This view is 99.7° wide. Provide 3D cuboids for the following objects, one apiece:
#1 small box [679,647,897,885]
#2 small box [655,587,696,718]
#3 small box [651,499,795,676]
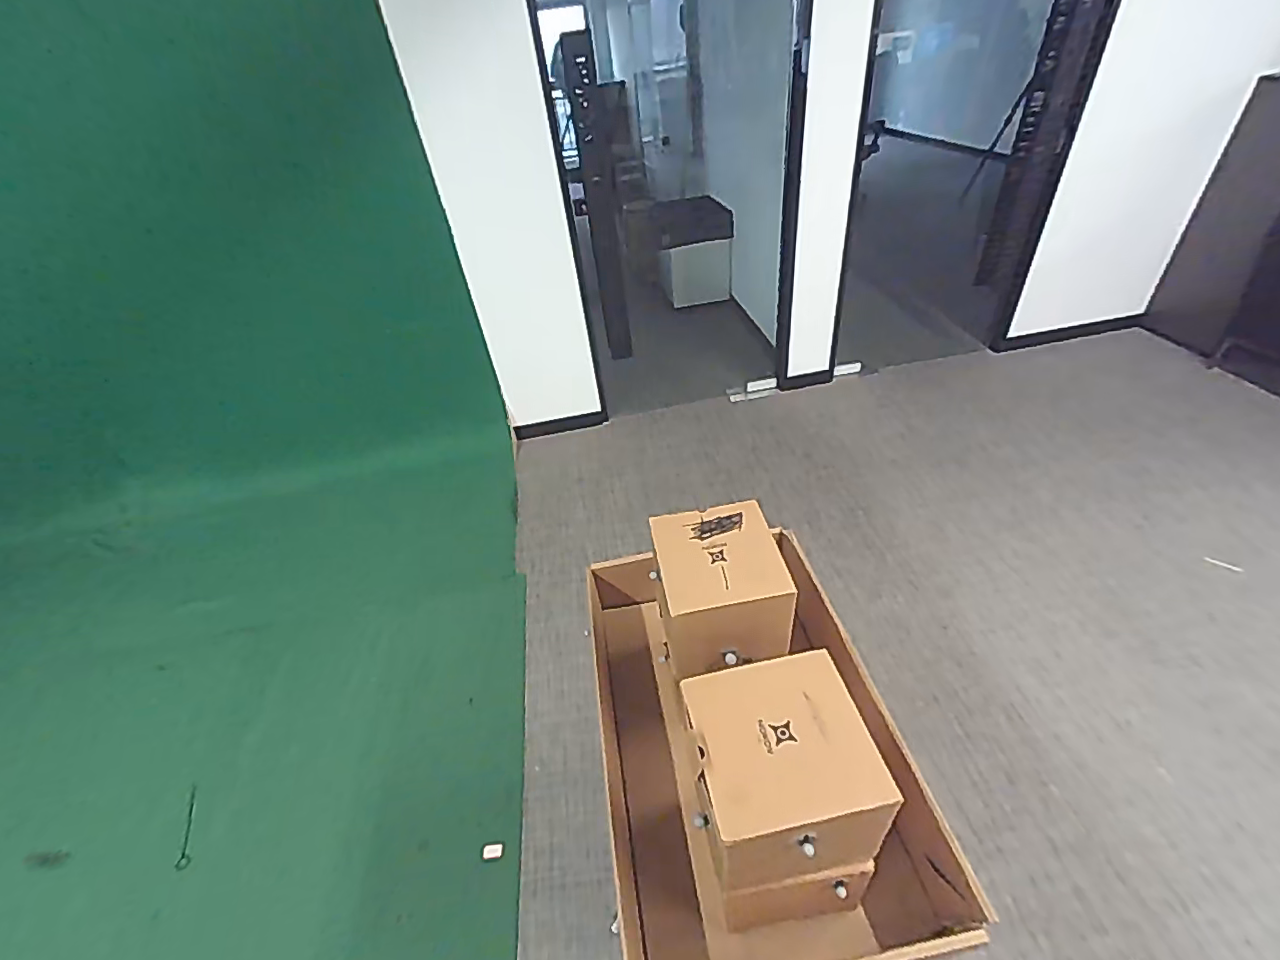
[{"bbox_3d":[0.151,0.319,0.604,0.179,0.176,0.168,-11,40,-5],"label":"small box"},{"bbox_3d":[0.131,0.277,0.907,0.179,0.176,0.168,-10,42,-1],"label":"small box"},{"bbox_3d":[0.113,0.157,0.794,0.168,0.176,0.179,-10,42,-2],"label":"small box"}]
